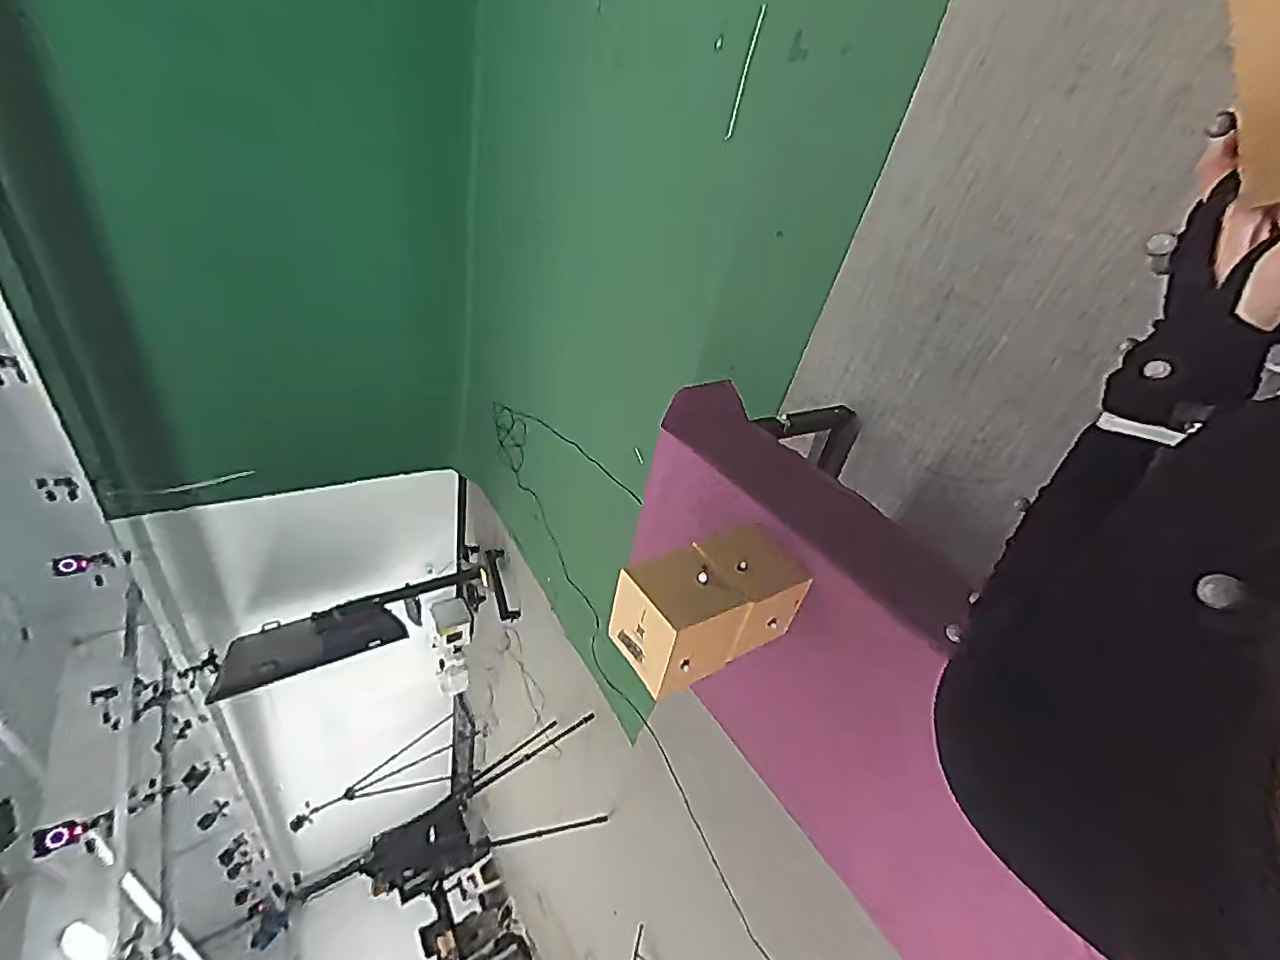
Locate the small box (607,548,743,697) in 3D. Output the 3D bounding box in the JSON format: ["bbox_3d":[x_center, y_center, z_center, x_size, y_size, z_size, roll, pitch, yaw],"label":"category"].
[{"bbox_3d":[0.062,0.252,0.989,0.168,0.176,0.179,43,132,40],"label":"small box"}]

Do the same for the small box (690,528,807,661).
[{"bbox_3d":[0.198,0.217,1.076,0.179,0.176,0.168,46,134,39],"label":"small box"}]
